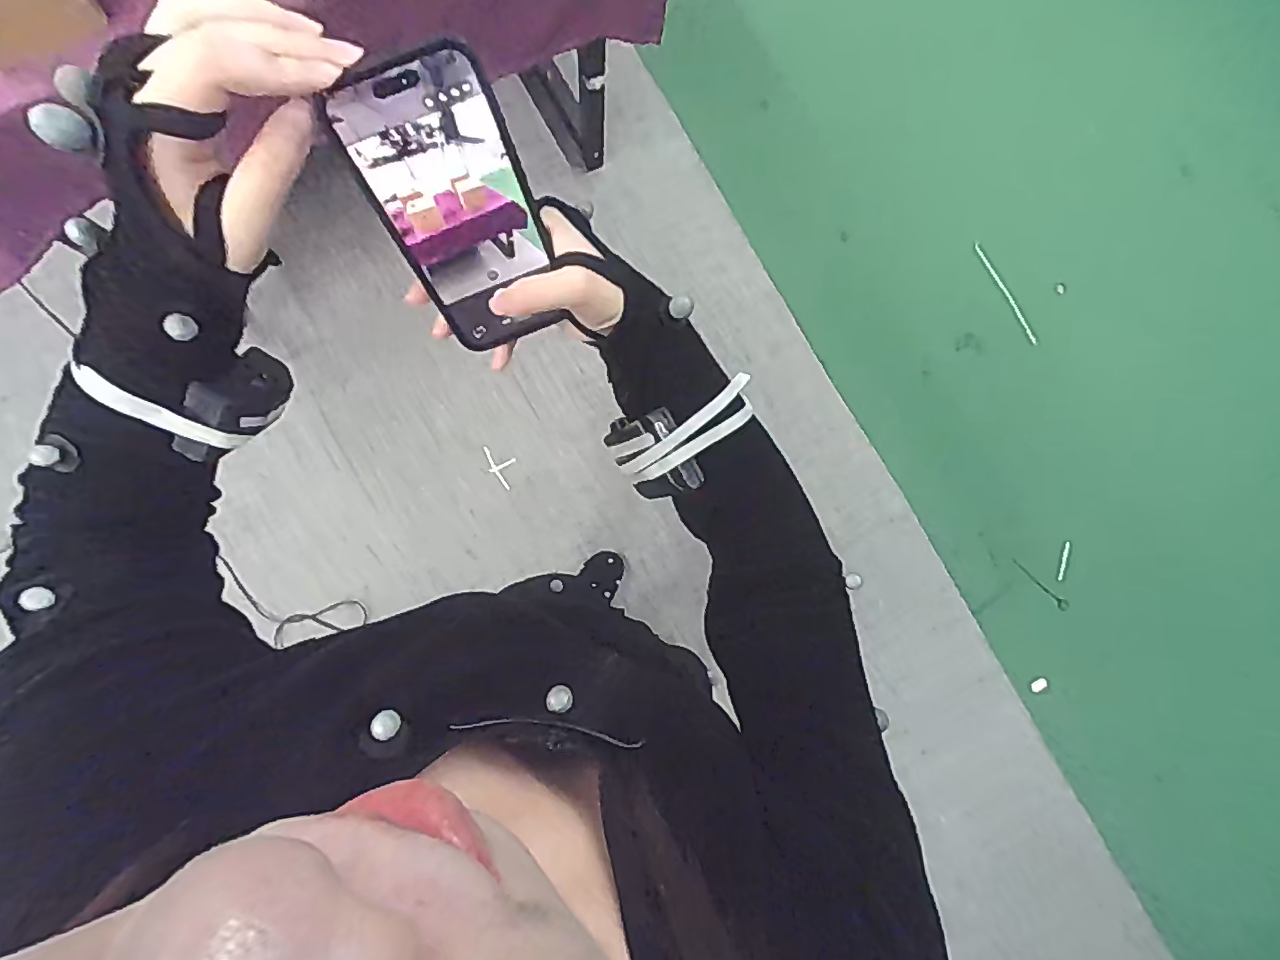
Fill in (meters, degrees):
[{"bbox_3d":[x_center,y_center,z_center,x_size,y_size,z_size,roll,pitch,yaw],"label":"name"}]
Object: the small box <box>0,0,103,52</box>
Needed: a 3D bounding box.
[{"bbox_3d":[-0.896,-0.723,0.713,0.179,0.176,0.168,-34,88,-9],"label":"small box"}]
